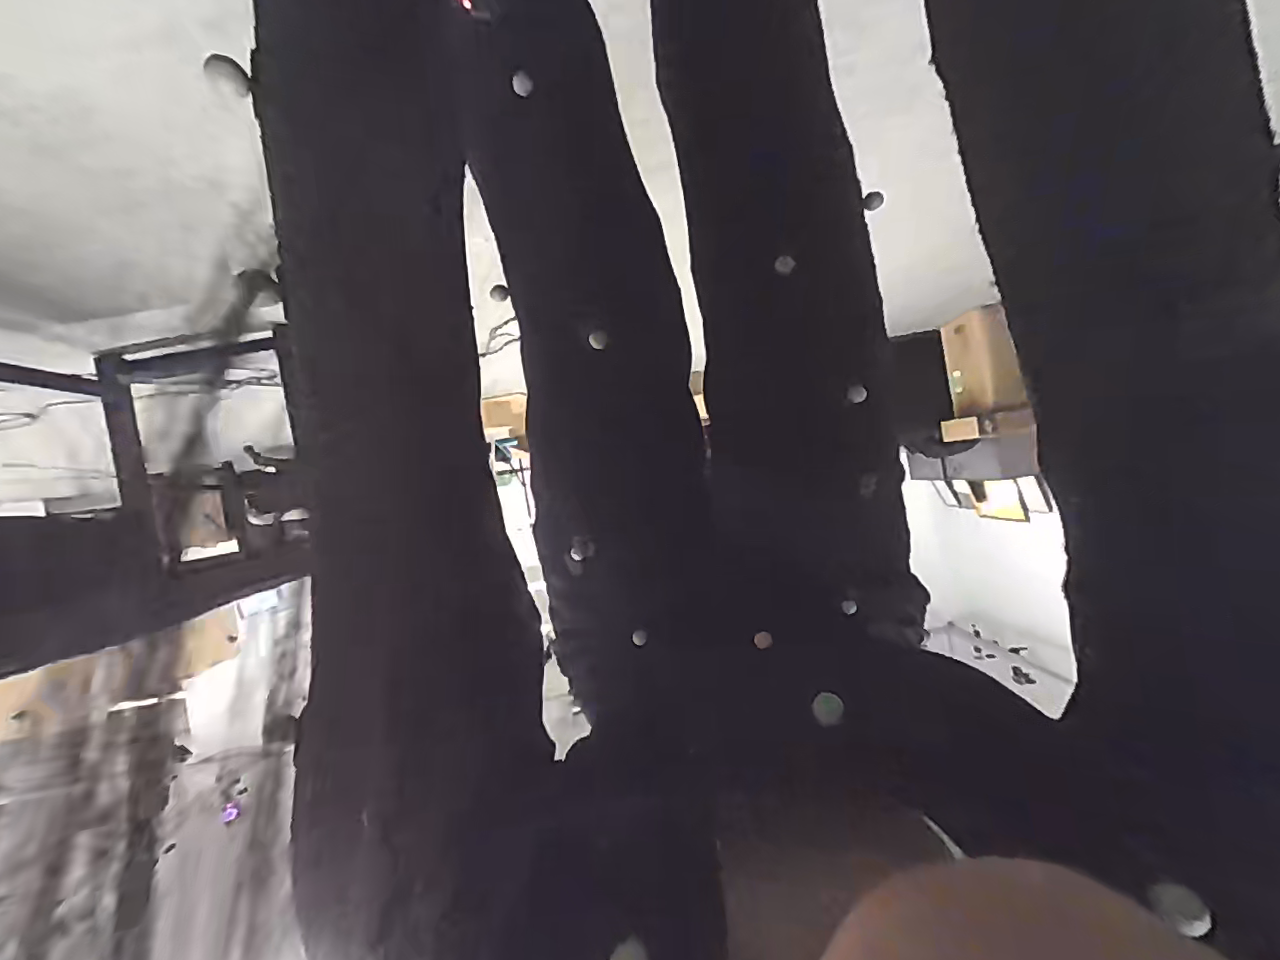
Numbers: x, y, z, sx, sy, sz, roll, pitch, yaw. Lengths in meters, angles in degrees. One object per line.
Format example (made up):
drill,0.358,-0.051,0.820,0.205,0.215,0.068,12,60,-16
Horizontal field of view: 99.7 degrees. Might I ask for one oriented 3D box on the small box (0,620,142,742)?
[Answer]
small box,-1.117,0.376,1.032,0.179,0.176,0.168,-10,180,-1
